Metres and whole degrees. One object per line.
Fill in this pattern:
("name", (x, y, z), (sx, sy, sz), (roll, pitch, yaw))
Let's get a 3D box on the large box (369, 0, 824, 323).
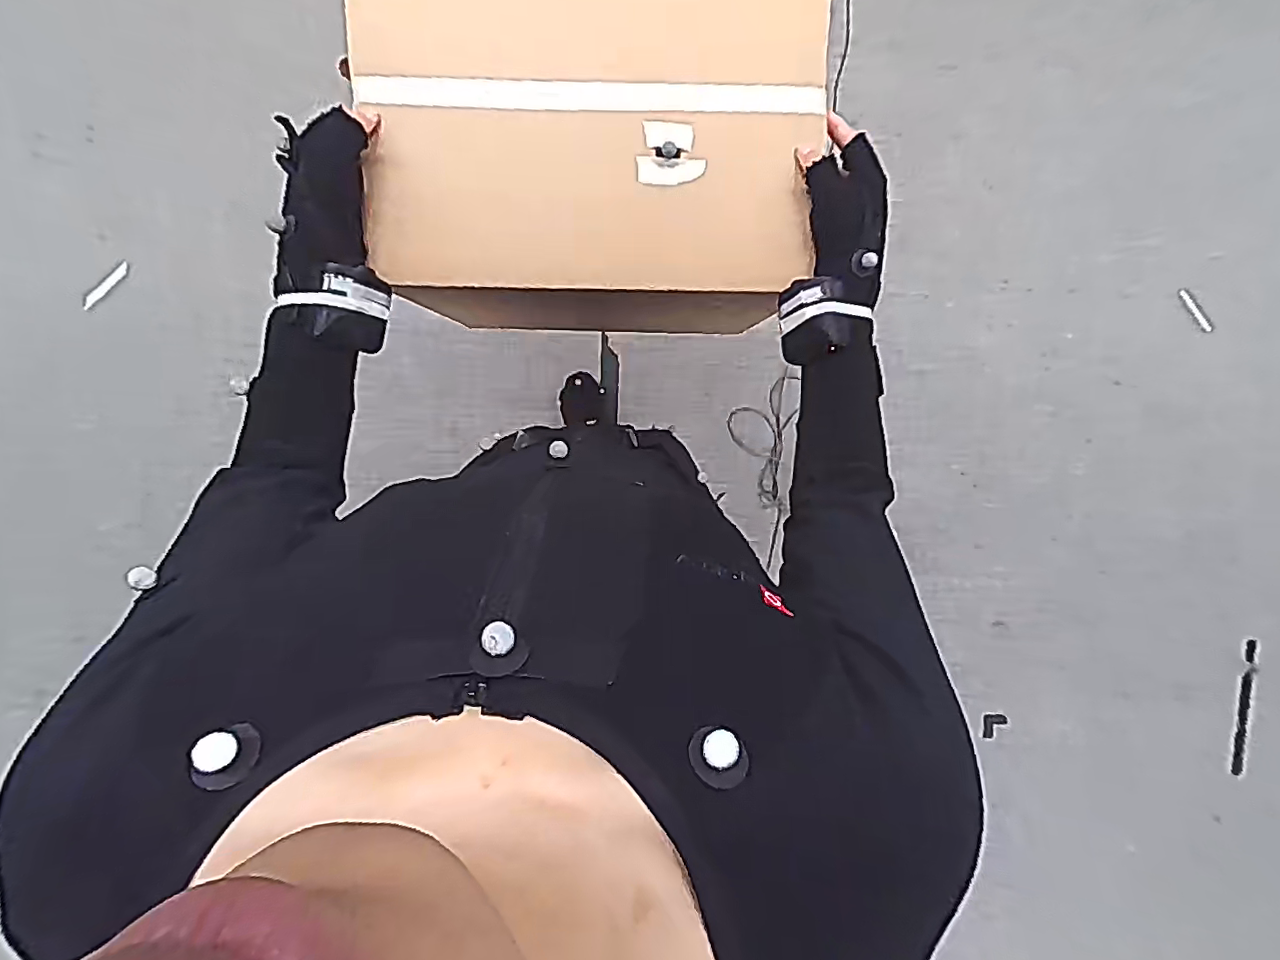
("large box", (-0.043, -0.363, 0.630), (0.408, 0.320, 0.320), (0, 100, -2))
